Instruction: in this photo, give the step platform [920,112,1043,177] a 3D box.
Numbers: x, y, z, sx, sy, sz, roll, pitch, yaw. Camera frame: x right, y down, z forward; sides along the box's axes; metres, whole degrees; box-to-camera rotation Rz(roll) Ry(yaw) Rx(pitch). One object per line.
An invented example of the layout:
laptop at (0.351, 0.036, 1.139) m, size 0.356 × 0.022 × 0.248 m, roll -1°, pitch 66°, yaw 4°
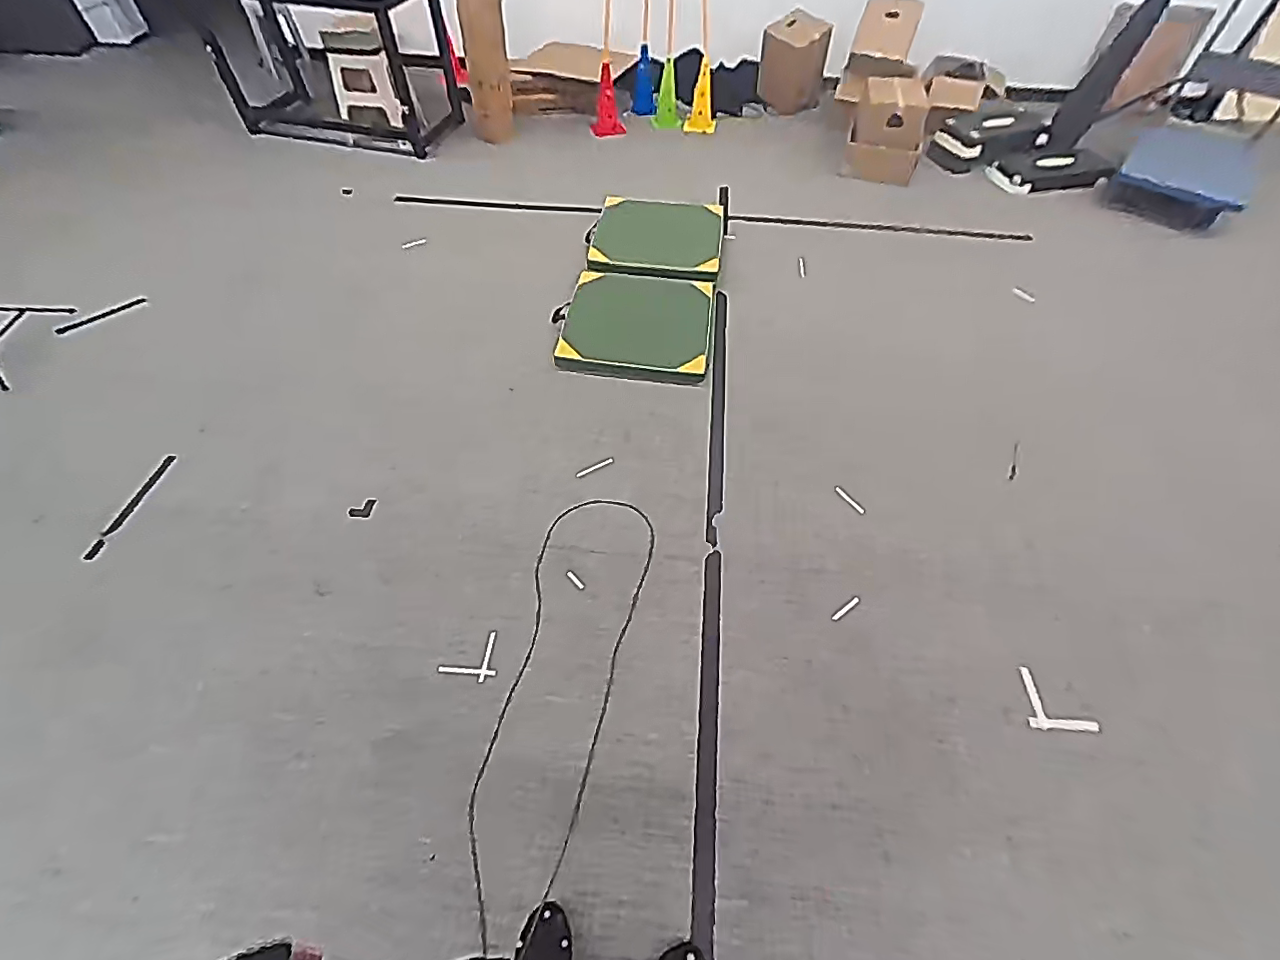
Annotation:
step platform at (2.085, -2.049, 3.294) m, size 0.684 × 0.204 × 0.286 m, roll -19°, pitch 57°, yaw -14°
